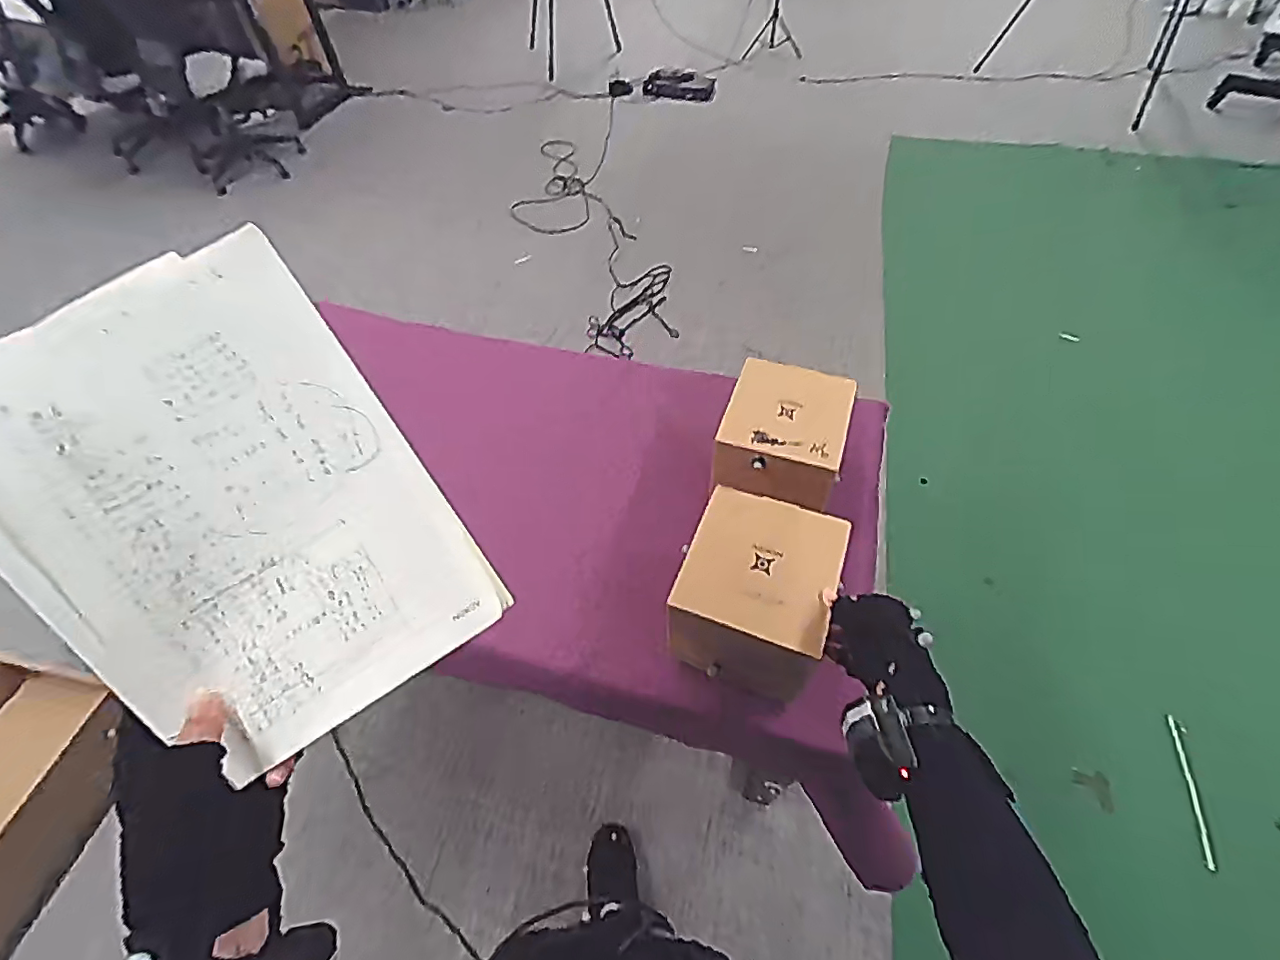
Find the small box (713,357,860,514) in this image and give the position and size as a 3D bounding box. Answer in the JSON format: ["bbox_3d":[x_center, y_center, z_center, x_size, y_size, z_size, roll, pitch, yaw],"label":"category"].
[{"bbox_3d":[0.212,-0.050,0.812,0.168,0.176,0.179,16,56,15],"label":"small box"}]

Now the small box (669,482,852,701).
[{"bbox_3d":[0.140,0.138,0.662,0.168,0.176,0.179,18,56,16],"label":"small box"}]
